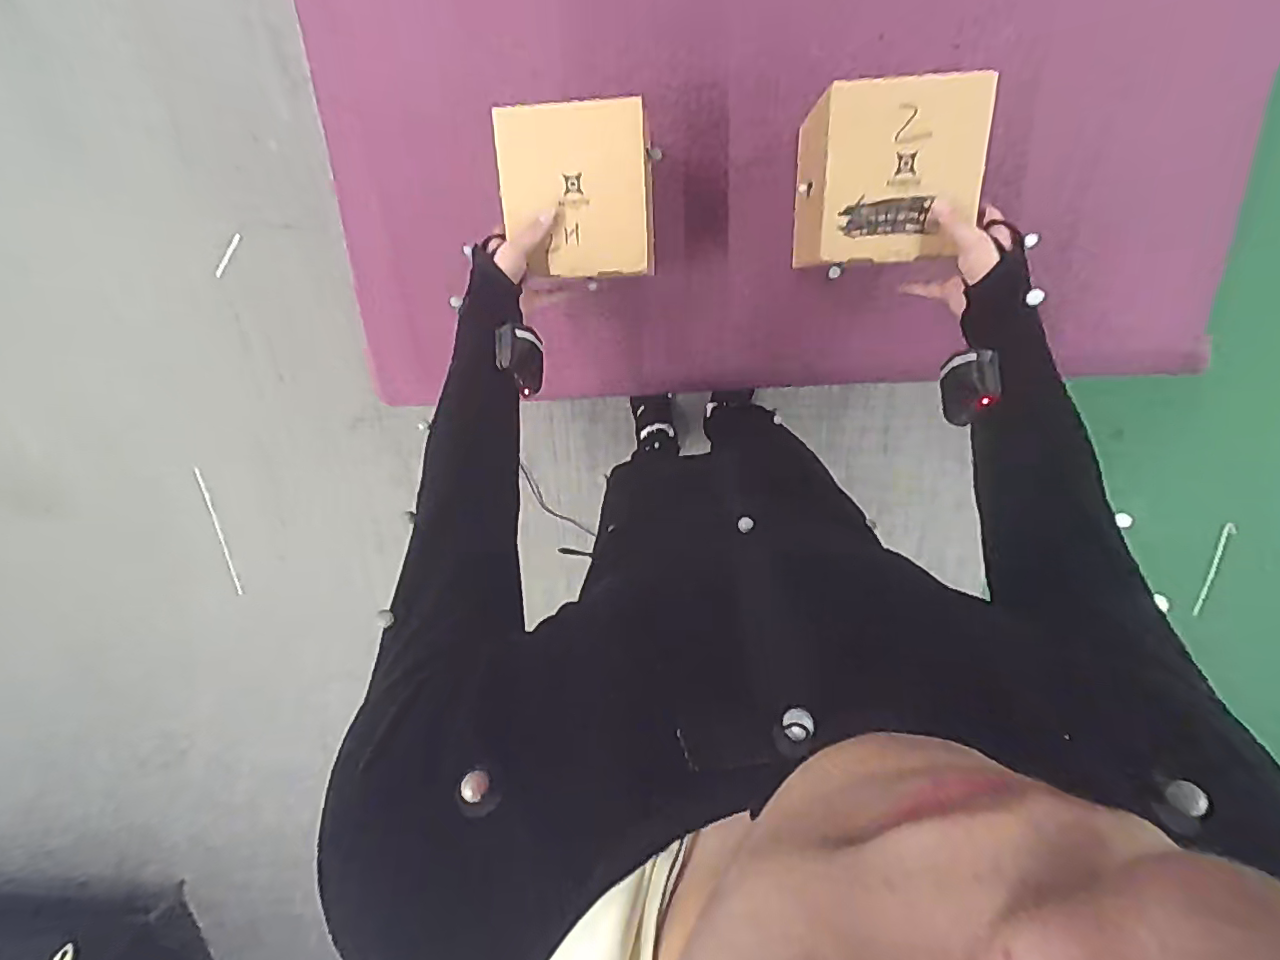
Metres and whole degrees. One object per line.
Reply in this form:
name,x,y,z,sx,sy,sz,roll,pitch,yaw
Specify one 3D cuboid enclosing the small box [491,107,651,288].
small box,-0.073,-0.336,0.676,0.168,0.176,0.179,0,109,4
